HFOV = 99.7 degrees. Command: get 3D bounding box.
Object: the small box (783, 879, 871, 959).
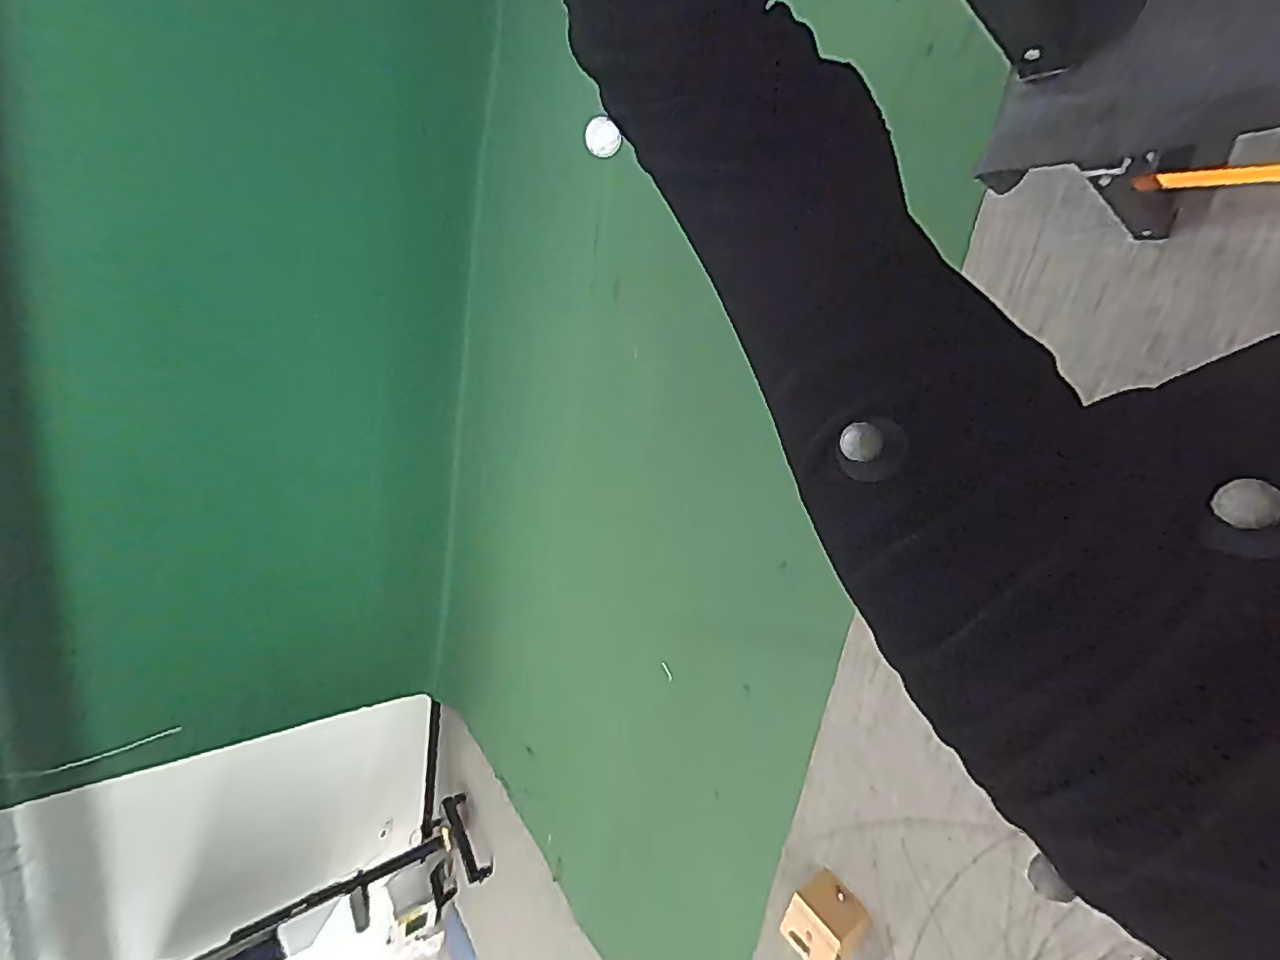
[{"bbox_3d":[0.570,1.376,1.641,0.168,0.176,0.179,31,114,46],"label":"small box"}]
